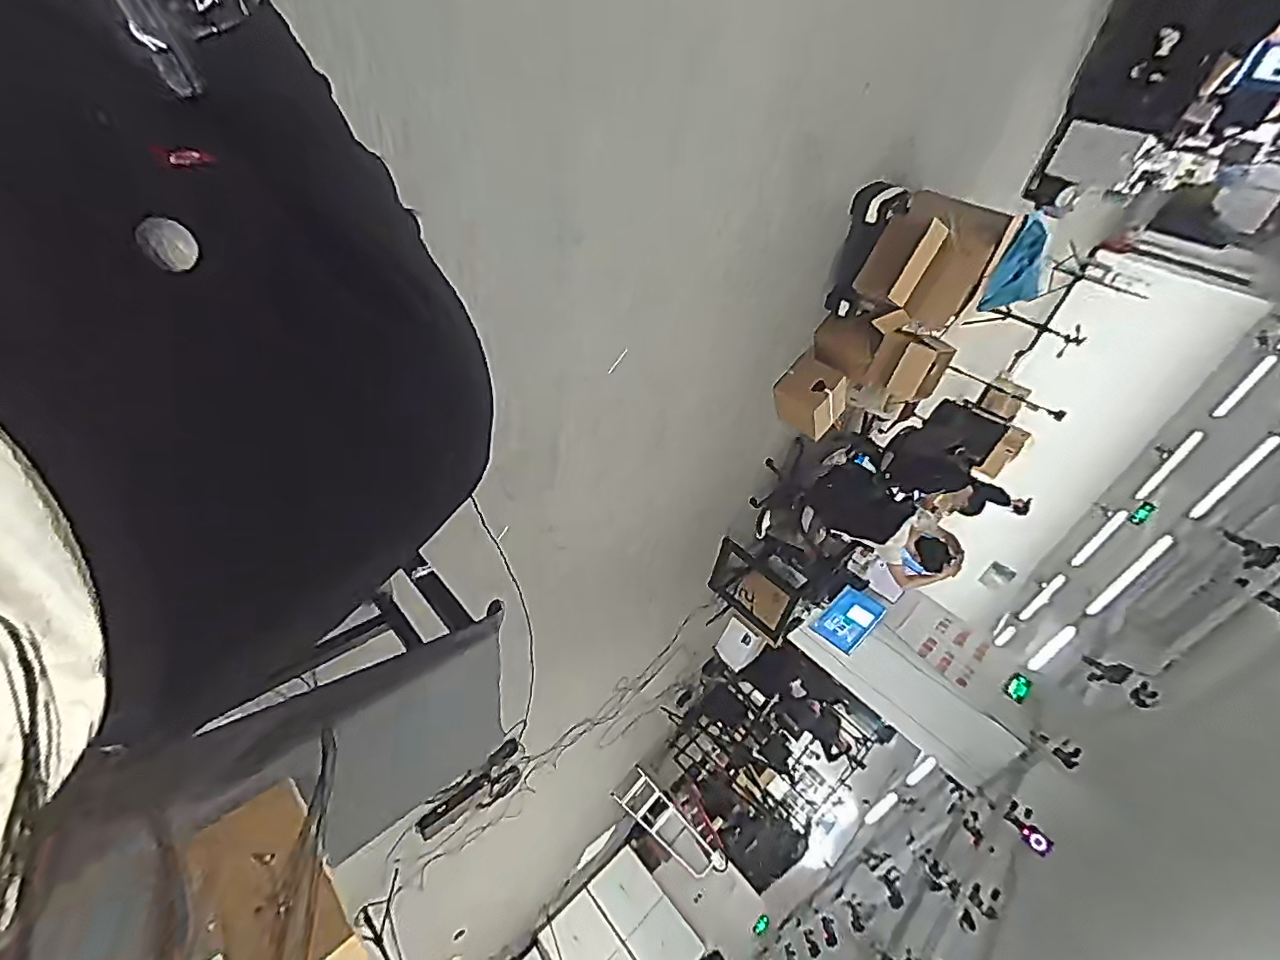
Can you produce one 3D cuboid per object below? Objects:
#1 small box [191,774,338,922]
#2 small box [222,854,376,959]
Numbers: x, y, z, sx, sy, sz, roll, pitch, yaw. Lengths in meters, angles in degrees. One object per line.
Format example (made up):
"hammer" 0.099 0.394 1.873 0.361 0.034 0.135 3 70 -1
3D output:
"small box" -0.722 0.717 1.048 0.179 0.176 0.168 -25 140 -38
"small box" -0.601 0.818 0.964 0.168 0.176 0.179 -29 142 -38
